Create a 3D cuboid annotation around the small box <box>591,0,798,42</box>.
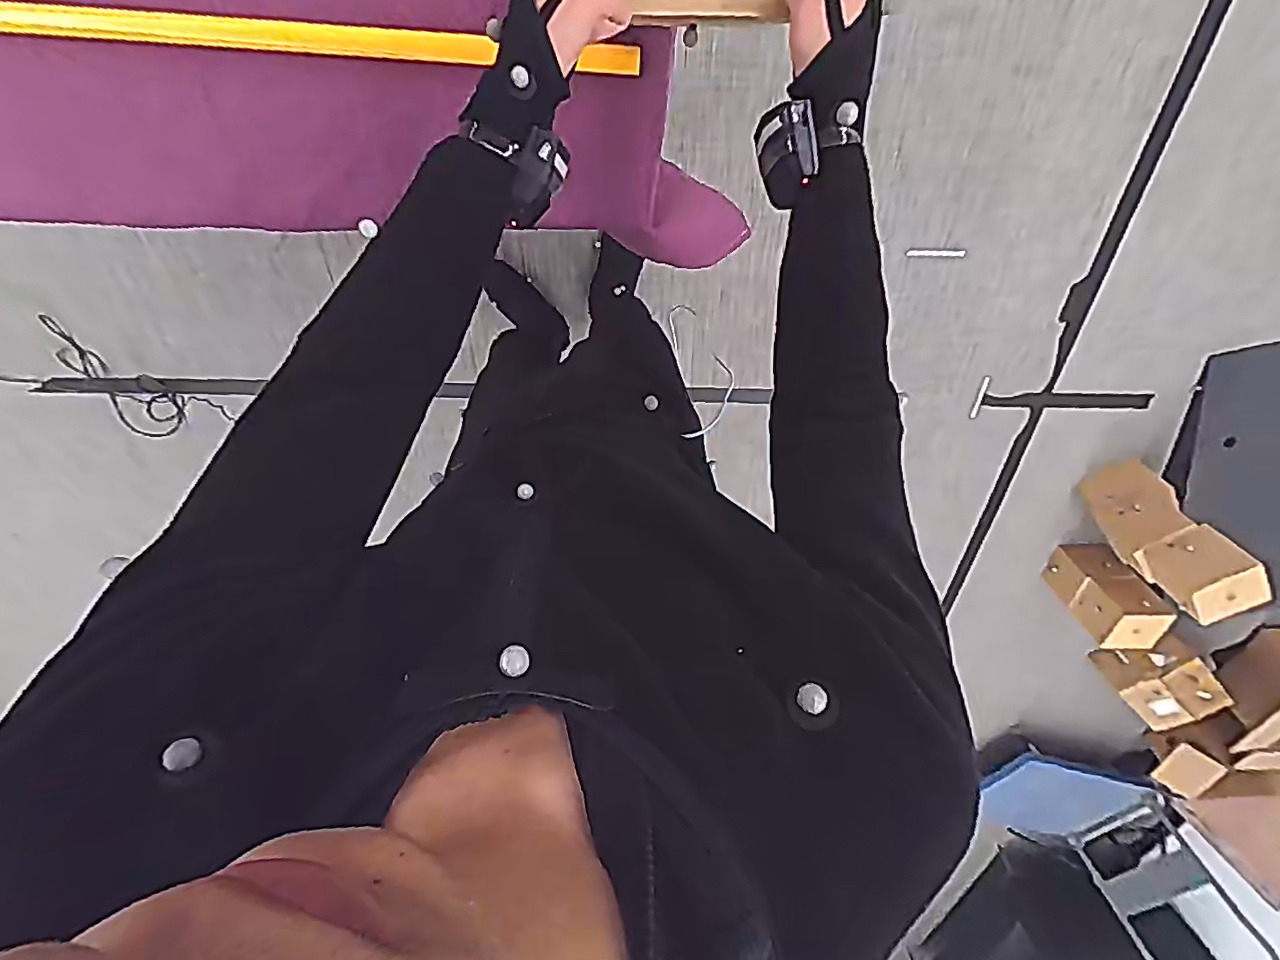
[{"bbox_3d":[0.049,-0.498,0.479,0.179,0.176,0.168,2,128,1],"label":"small box"}]
